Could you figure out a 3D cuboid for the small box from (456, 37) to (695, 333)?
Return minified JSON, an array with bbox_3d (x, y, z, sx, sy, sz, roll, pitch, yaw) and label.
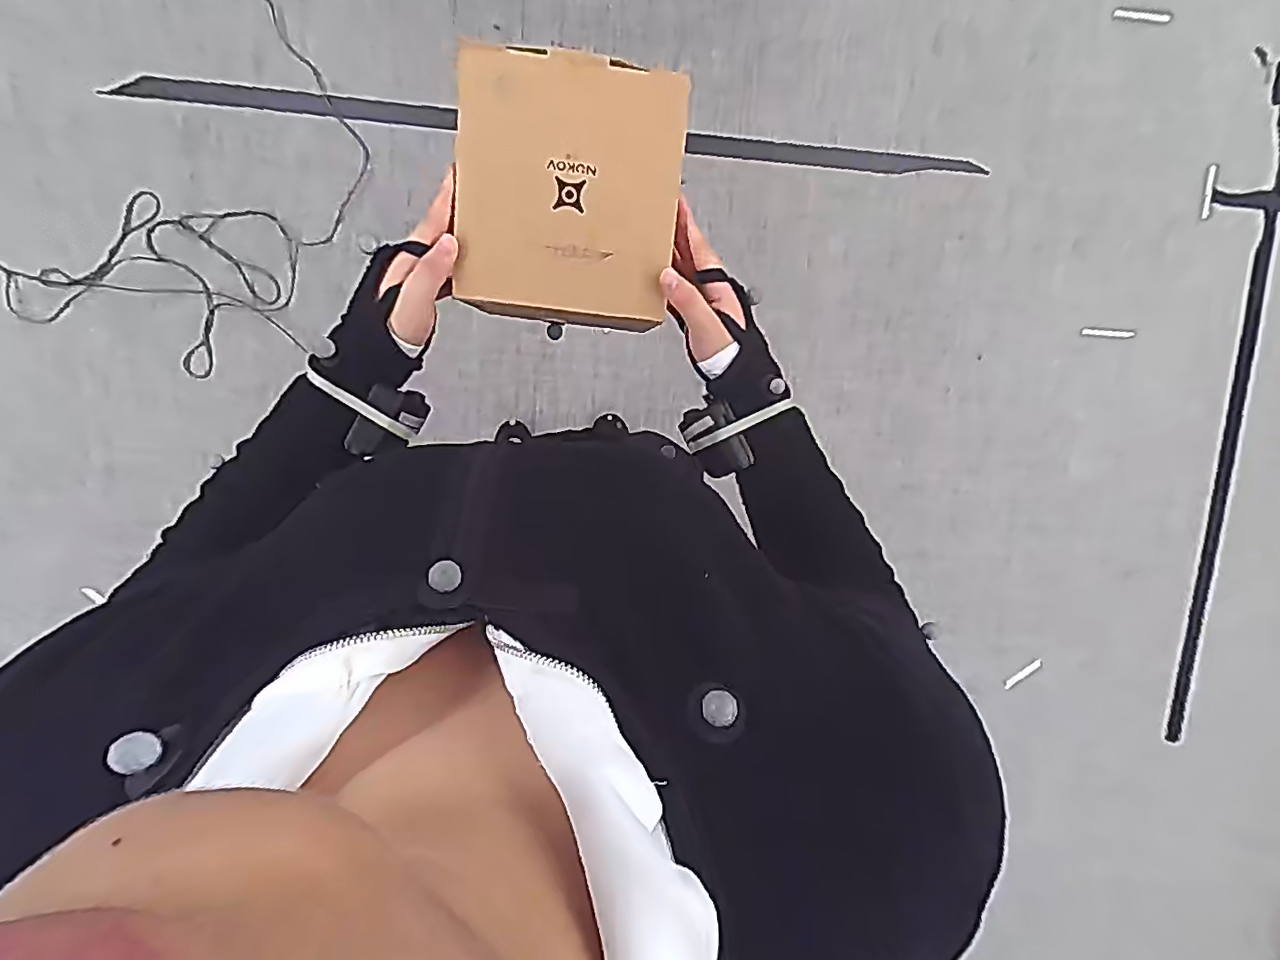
[{"bbox_3d":[-0.057,-0.234,0.481,0.168,0.176,0.179,5,101,-6],"label":"small box"}]
